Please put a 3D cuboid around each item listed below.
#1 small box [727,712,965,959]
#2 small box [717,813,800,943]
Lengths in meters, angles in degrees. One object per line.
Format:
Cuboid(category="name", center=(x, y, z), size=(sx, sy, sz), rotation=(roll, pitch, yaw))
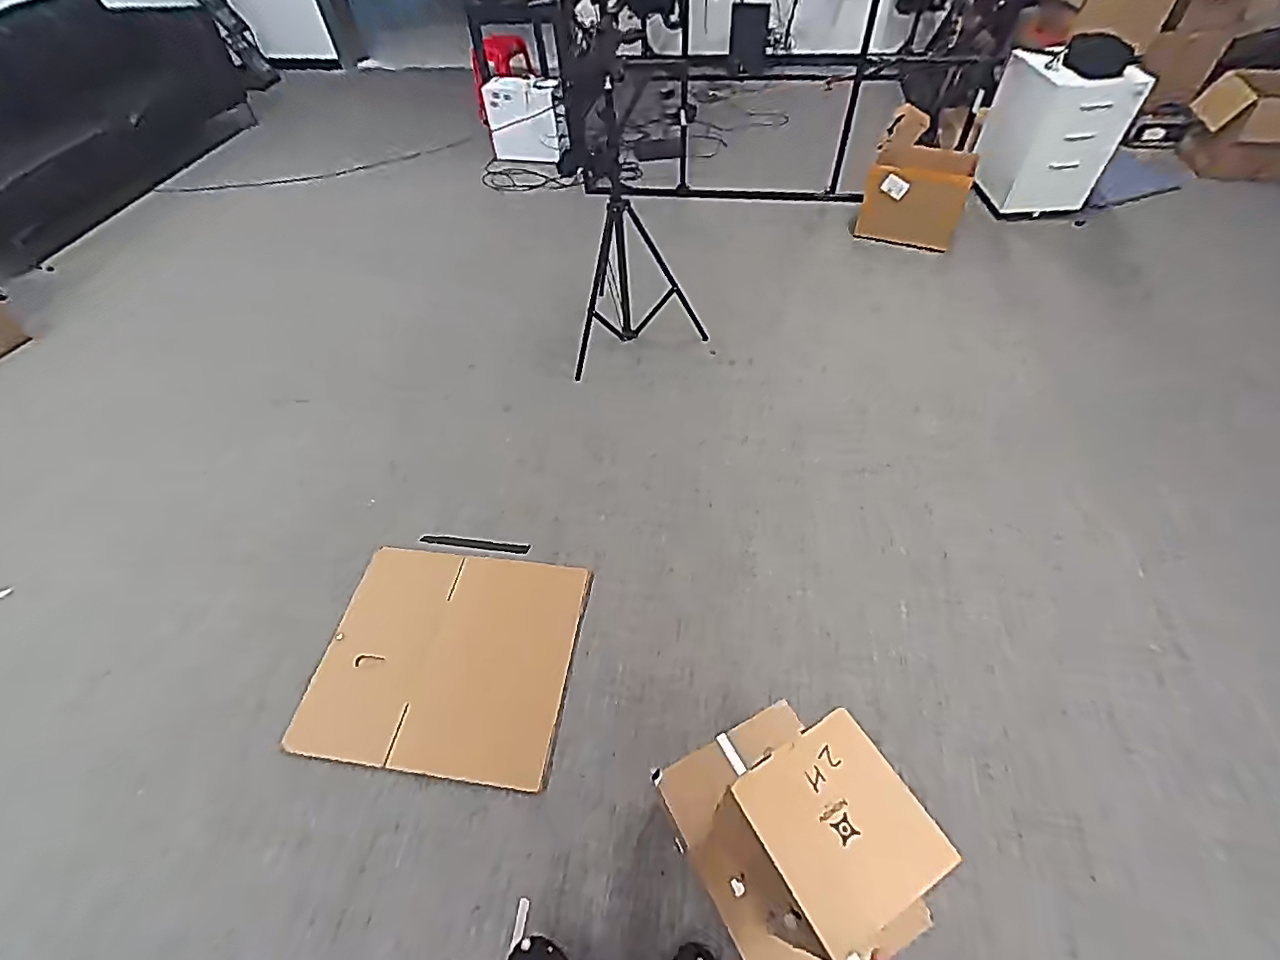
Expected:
Cuboid(category="small box", center=(0.217, 0.408, 0.625), size=(0.168, 0.176, 0.179), rotation=(-26, 55, -15))
Cuboid(category="small box", center=(0.240, 0.608, 0.885), size=(0.168, 0.176, 0.179), rotation=(-27, 56, -15))
